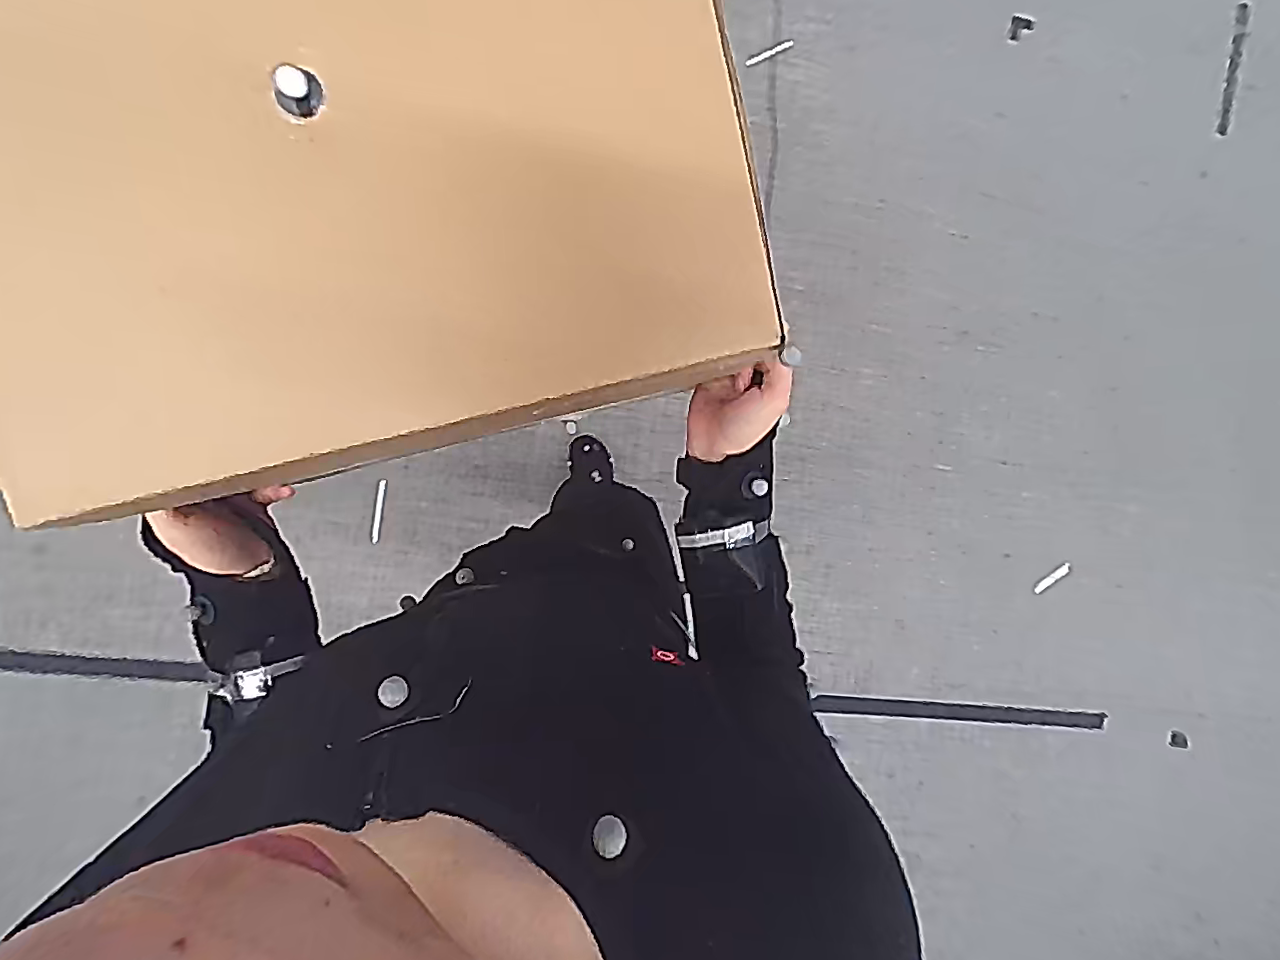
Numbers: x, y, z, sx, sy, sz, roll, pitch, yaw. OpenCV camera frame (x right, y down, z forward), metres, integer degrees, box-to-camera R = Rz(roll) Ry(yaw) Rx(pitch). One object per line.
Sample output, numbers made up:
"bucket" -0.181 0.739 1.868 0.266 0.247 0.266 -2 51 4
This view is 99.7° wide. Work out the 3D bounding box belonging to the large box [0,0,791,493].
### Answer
"large box" -0.156 -0.200 0.400 0.408 0.320 0.320 -13 98 -1
